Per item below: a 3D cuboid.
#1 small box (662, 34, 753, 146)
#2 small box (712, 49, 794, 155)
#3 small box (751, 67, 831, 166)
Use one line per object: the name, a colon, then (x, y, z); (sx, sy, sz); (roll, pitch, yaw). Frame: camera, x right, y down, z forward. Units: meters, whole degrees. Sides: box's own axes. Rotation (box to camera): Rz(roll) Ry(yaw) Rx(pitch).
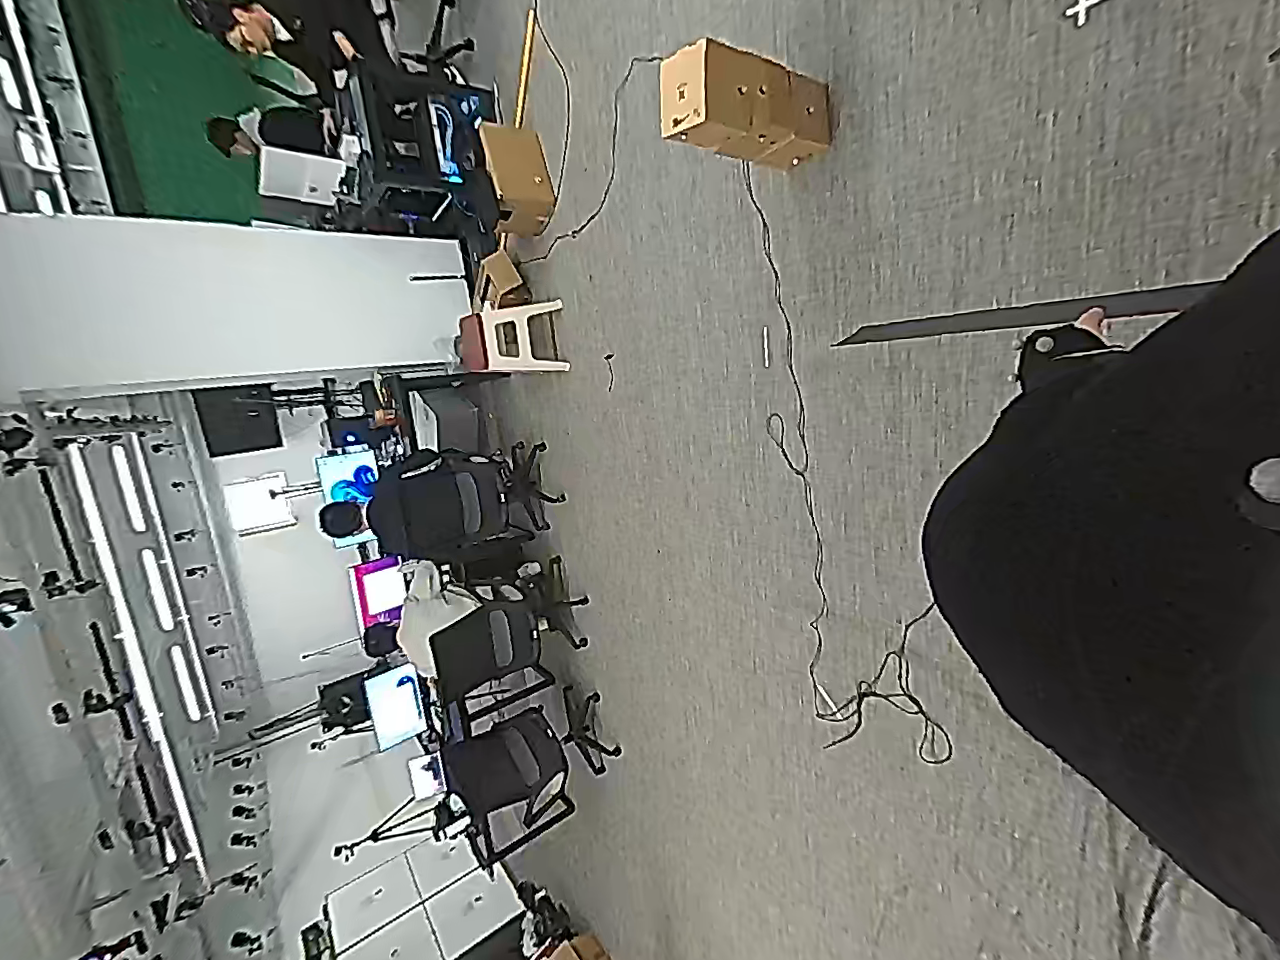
small box: (0.173, -0.988, 1.386); (0.168, 0.176, 0.179); (20, 116, 50)
small box: (0.303, -1.020, 1.481); (0.168, 0.176, 0.179); (-2, 98, 54)
small box: (0.434, -1.046, 1.573); (0.168, 0.176, 0.179); (4, 105, 54)
